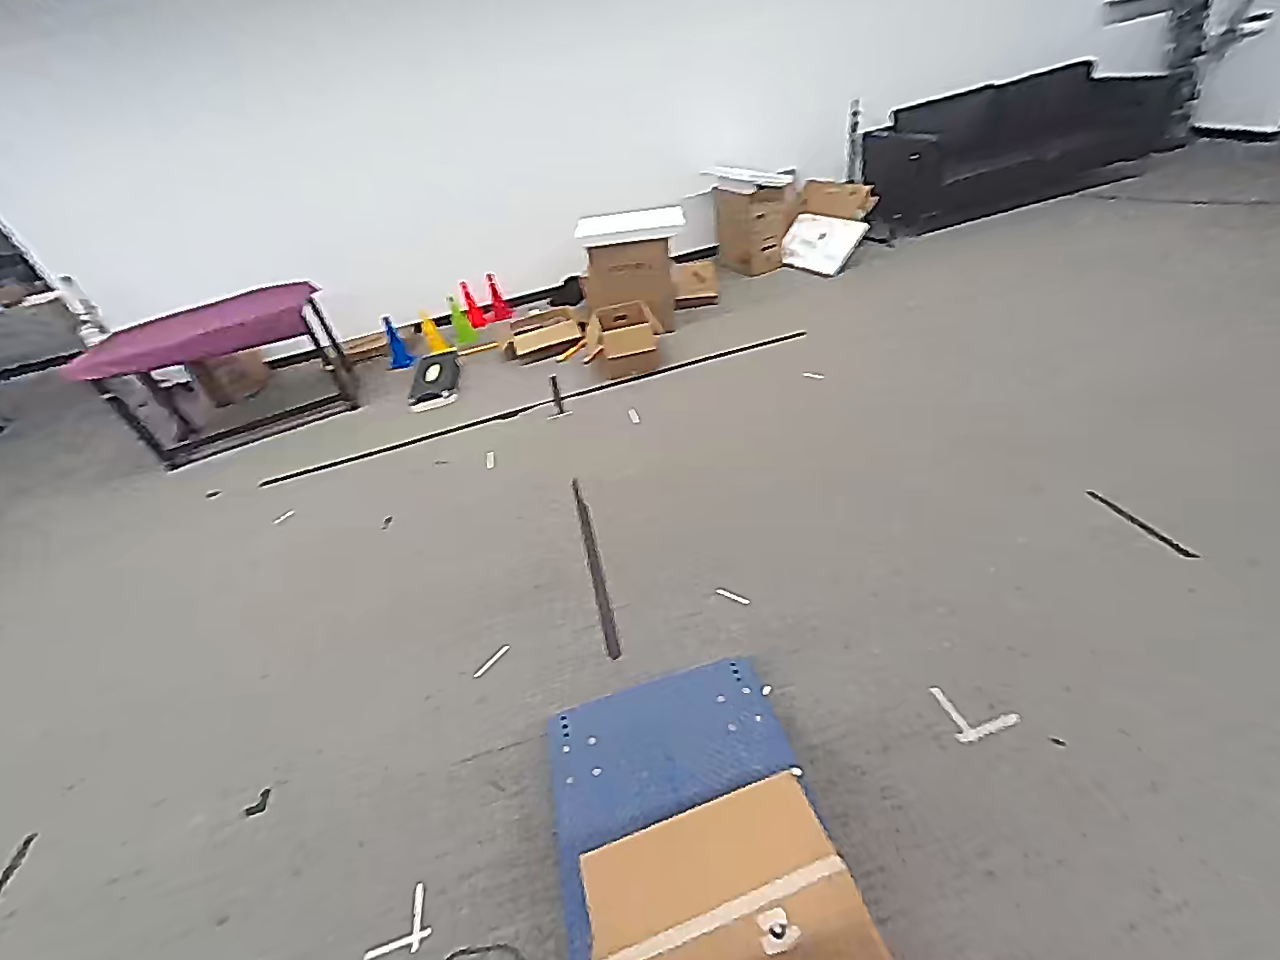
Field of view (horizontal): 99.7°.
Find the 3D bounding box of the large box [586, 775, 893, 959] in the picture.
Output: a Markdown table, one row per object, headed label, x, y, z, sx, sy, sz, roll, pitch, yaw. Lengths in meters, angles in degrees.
| label | x | y | z | sx | sy | sz | roll | pitch | yaw |
| --- | --- | --- | --- | --- | --- | --- | --- | --- | --- |
| large box | 0.158 | 0.795 | 0.922 | 0.408 | 0.320 | 0.320 | -17 | 38 | -9 |
